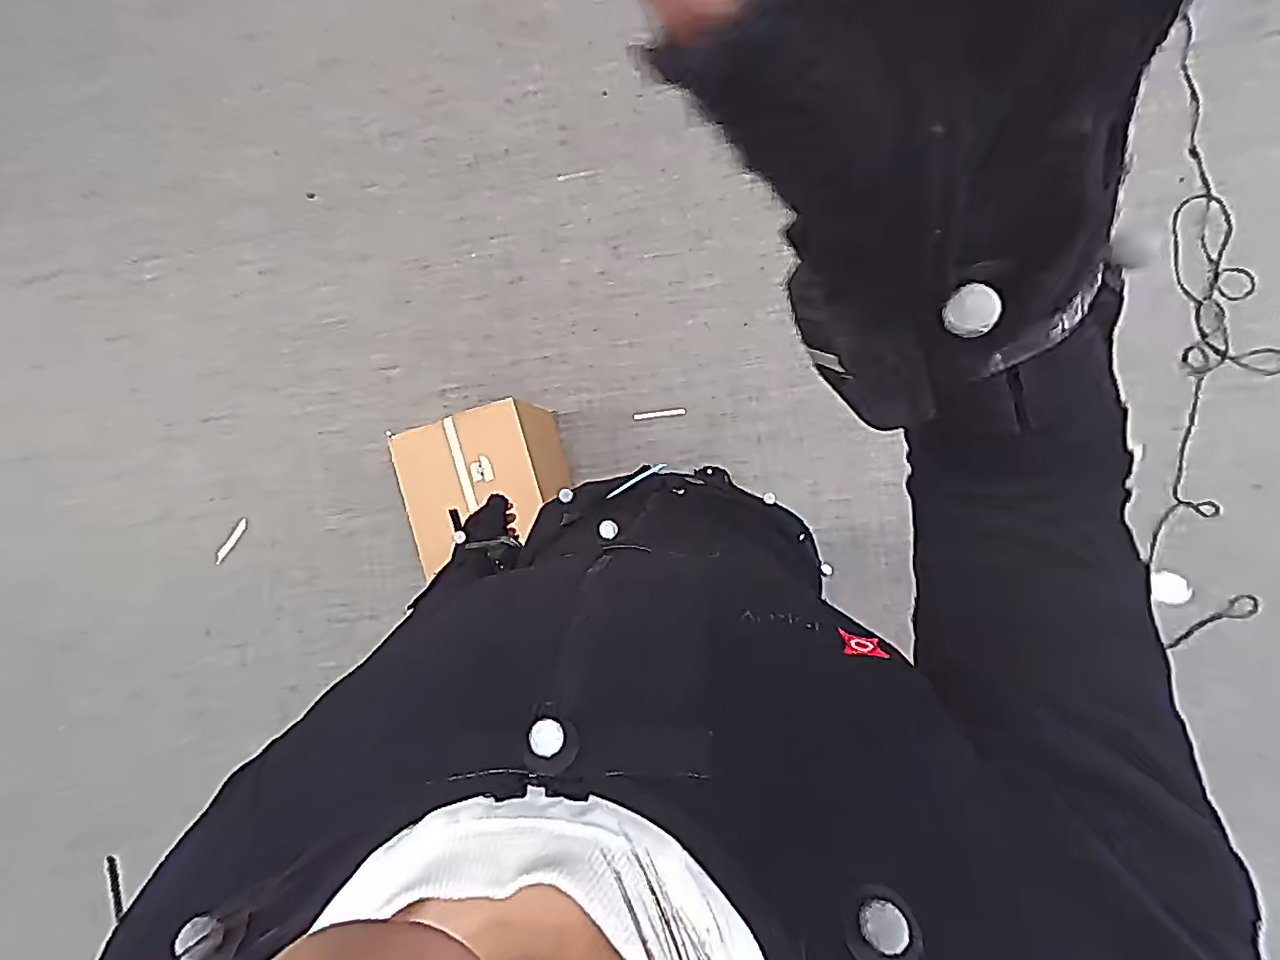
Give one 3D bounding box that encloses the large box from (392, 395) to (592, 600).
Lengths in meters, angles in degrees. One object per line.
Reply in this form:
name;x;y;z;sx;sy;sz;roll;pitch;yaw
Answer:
large box;-0.349;0.042;1.360;0.320;0.320;0.408;-17;88;6
